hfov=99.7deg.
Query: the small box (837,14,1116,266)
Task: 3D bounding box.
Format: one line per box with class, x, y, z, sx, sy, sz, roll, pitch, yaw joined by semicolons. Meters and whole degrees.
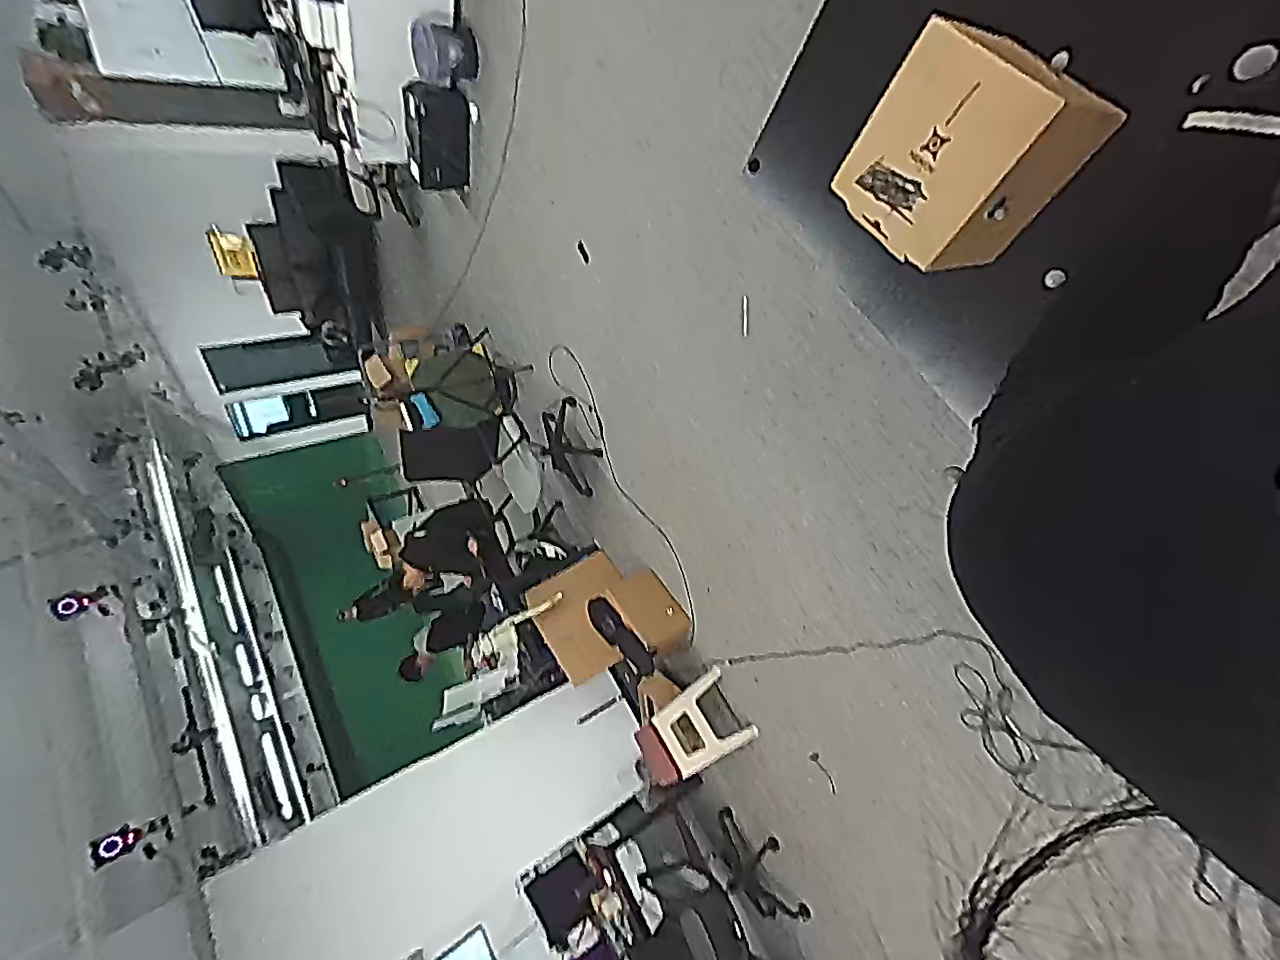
small box;0.372;-0.370;0.610;0.168;0.176;0.179;57;145;21
